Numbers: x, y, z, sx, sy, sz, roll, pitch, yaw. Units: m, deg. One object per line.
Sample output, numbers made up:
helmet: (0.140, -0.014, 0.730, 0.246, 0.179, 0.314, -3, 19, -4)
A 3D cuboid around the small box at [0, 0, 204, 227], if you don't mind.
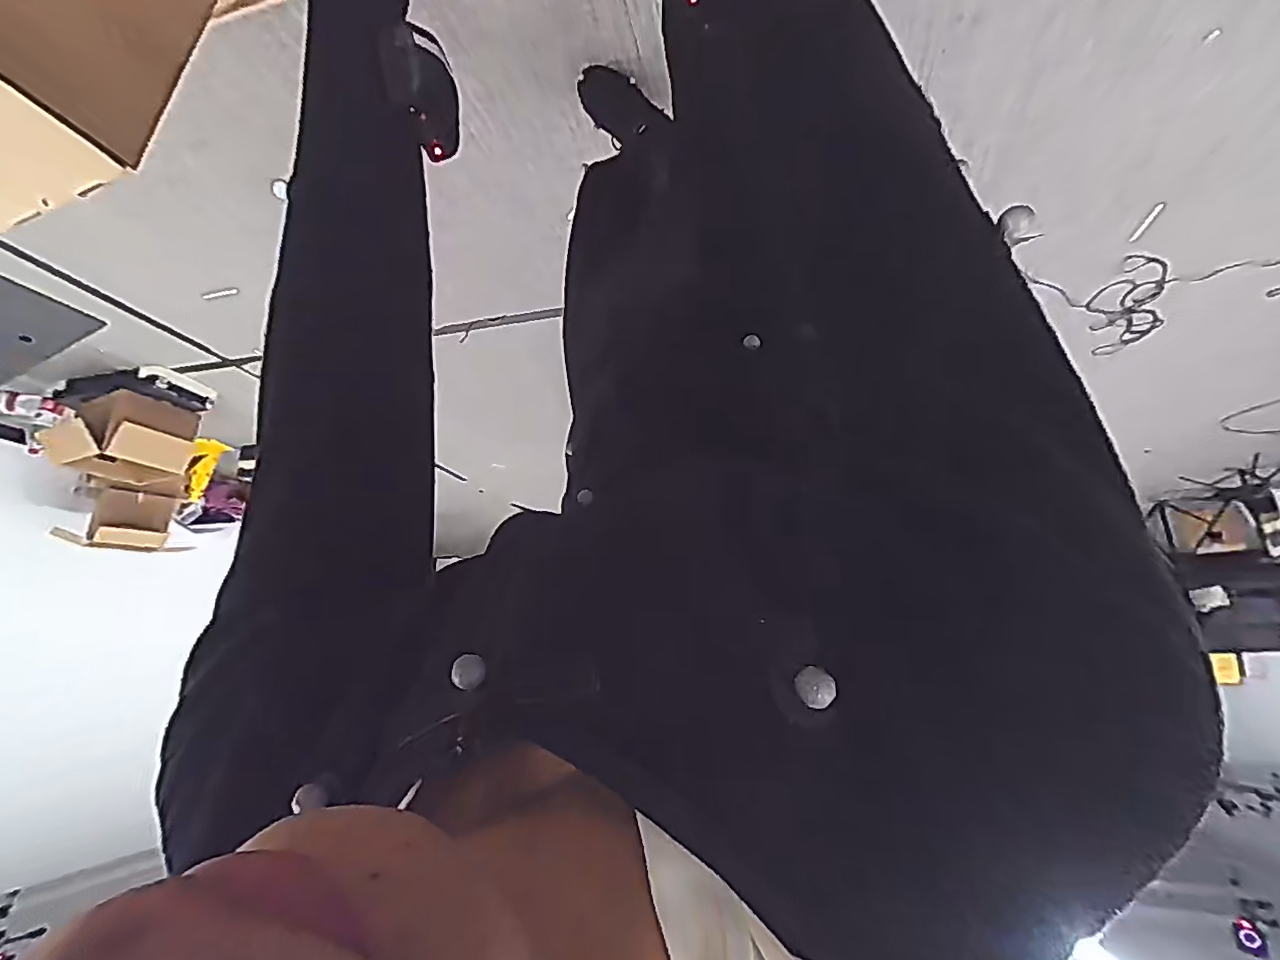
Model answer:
small box: (-0.402, -0.283, 0.299, 0.168, 0.176, 0.179, -5, 160, 20)
